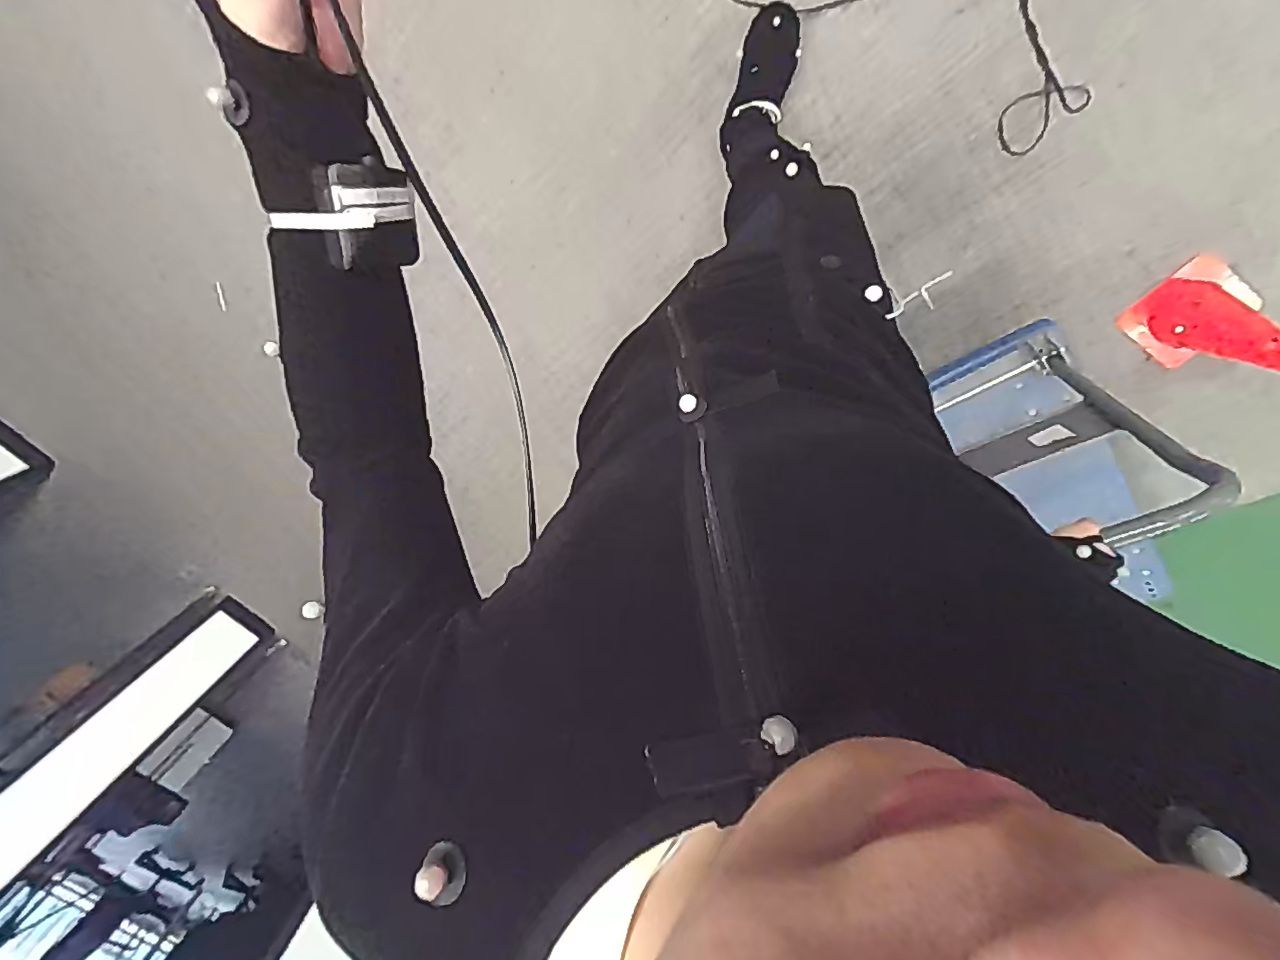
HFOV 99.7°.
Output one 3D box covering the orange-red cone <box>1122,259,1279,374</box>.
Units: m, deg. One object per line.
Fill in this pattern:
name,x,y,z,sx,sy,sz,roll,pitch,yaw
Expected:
orange-red cone,1.220,-0.286,1.092,0.198,0.360,0.199,35,122,-10
